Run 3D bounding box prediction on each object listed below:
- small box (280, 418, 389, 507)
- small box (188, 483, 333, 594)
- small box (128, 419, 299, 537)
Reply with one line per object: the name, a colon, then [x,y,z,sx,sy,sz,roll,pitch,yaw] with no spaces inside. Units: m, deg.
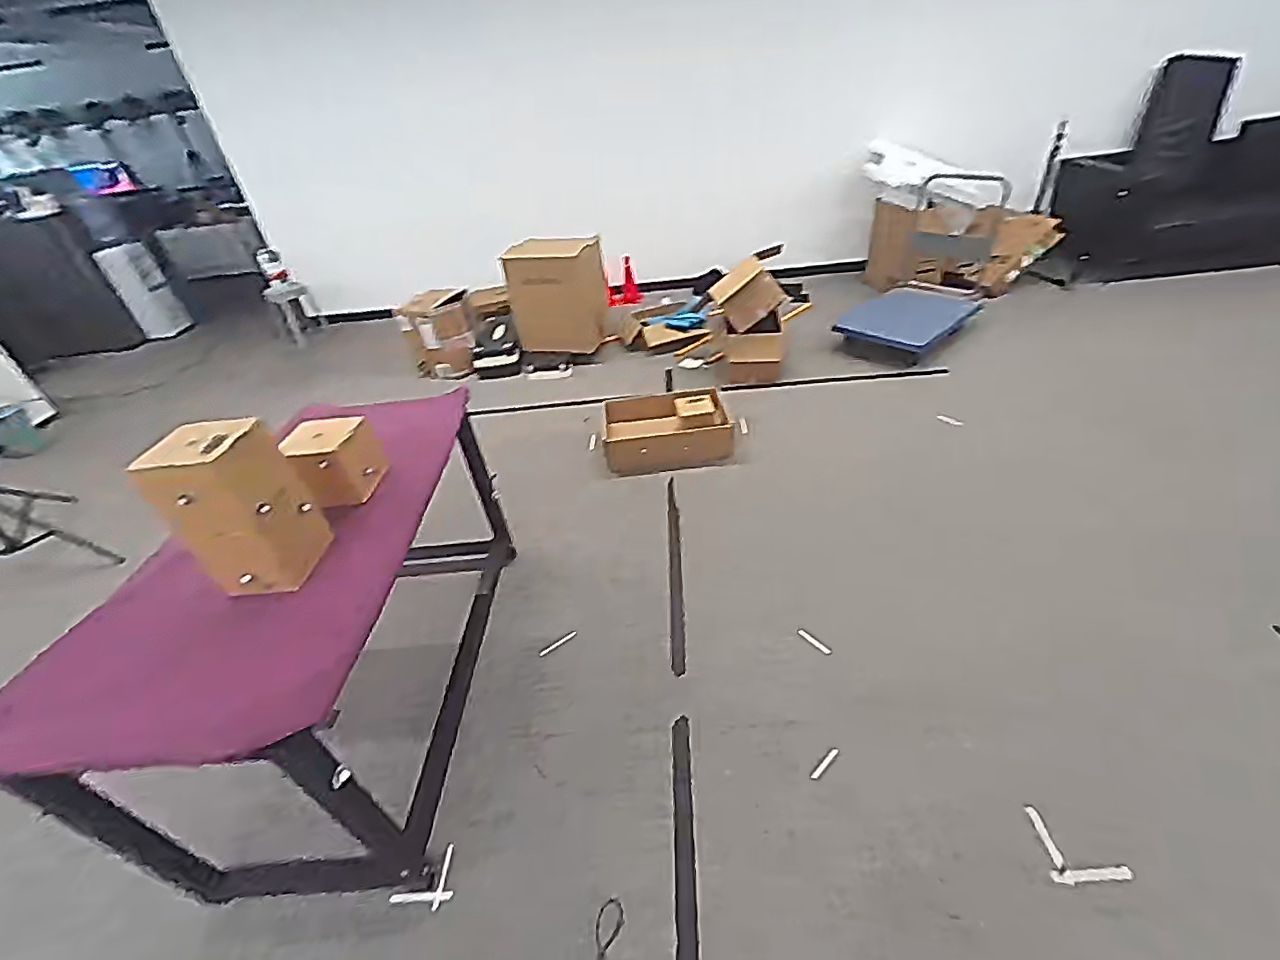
small box: [-0.793,-0.042,1.409,0.179,0.176,0.168,-5,37,5]
small box: [-0.812,0.128,1.184,0.168,0.176,0.179,-5,37,5]
small box: [-0.837,-0.003,1.087,0.179,0.176,0.168,-6,36,4]
